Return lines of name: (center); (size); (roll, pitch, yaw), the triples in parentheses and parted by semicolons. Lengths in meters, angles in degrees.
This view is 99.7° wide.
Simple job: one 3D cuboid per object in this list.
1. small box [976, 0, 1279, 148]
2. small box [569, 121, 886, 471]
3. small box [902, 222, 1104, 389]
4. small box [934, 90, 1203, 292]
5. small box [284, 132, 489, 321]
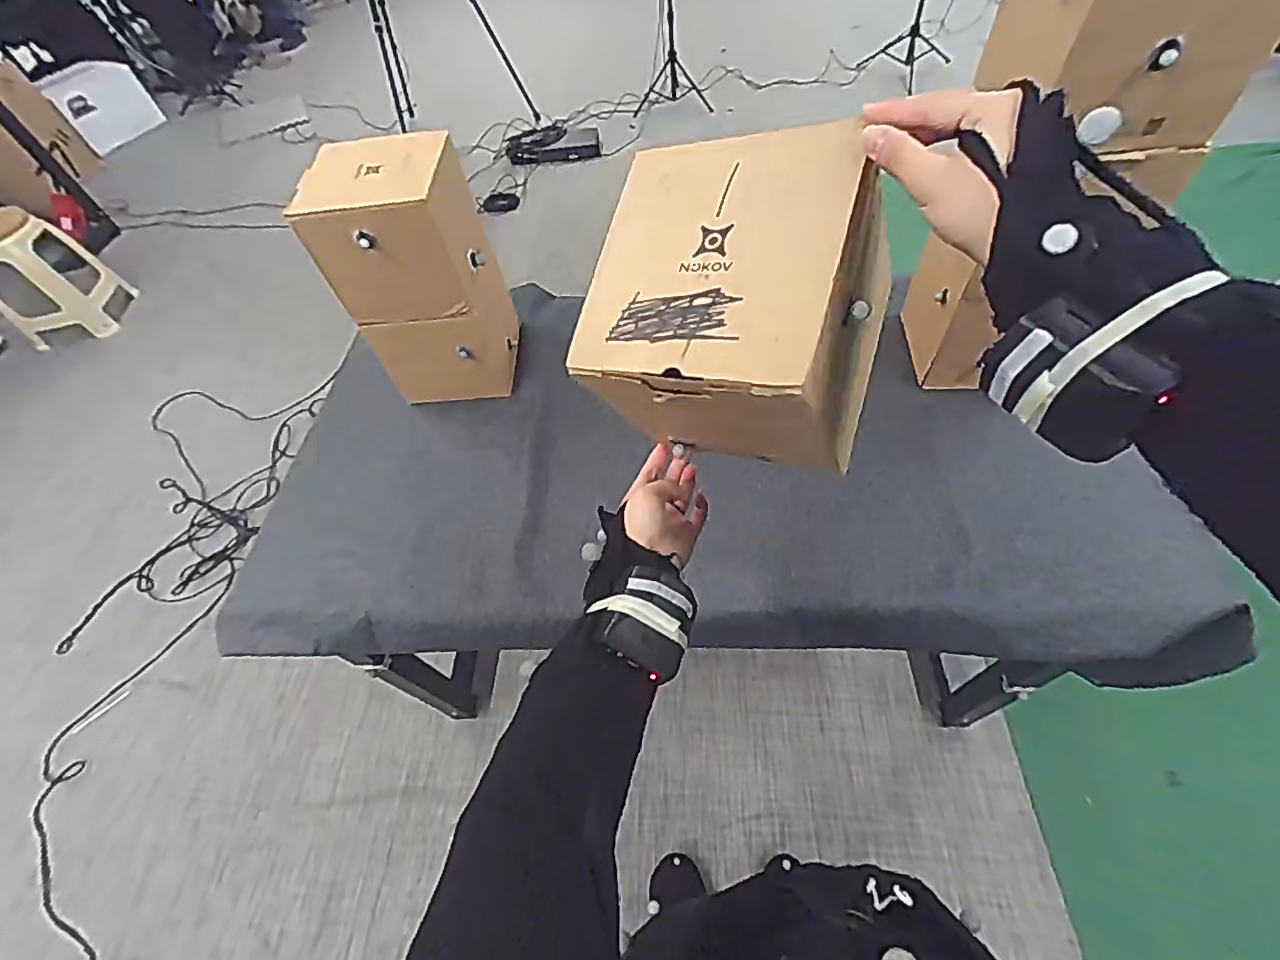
small box: (0.448, -0.430, 0.499); (0.168, 0.176, 0.179); (0, 56, 7)
small box: (0.080, -0.119, 0.408); (0.168, 0.176, 0.179); (12, 79, 30)
small box: (0.493, -0.252, 0.772); (0.168, 0.176, 0.179); (0, 57, 8)
small box: (0.473, -0.338, 0.635); (0.168, 0.176, 0.179); (1, 58, 8)
small box: (-0.323, -0.334, 0.732); (0.179, 0.176, 0.168); (-4, 57, 3)
